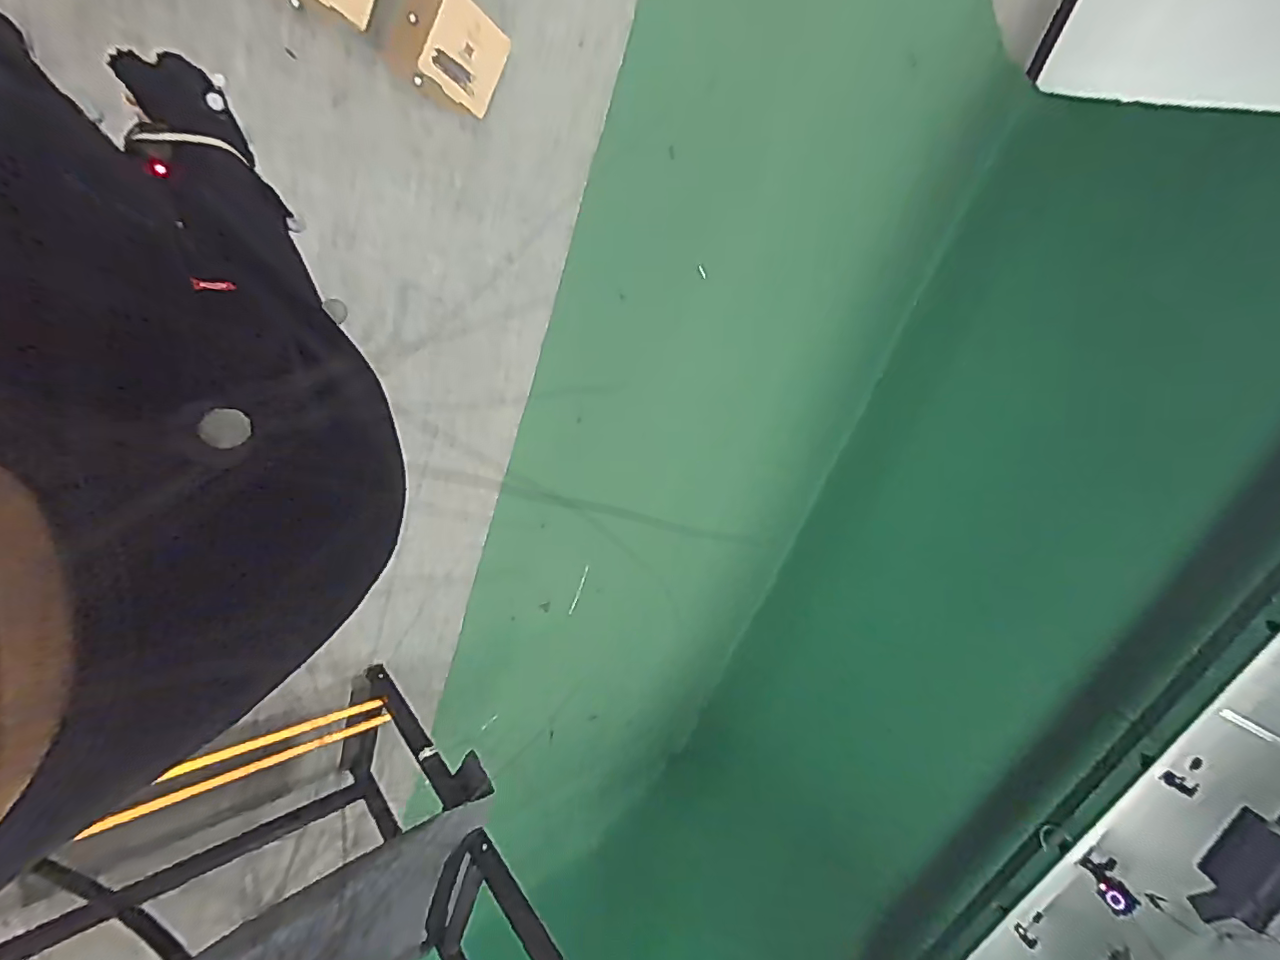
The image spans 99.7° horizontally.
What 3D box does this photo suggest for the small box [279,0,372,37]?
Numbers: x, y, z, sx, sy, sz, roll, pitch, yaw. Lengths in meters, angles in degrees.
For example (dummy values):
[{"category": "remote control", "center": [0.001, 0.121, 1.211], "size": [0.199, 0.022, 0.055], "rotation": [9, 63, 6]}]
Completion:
[{"category": "small box", "center": [-0.588, -0.947, 0.969], "size": [0.168, 0.176, 0.179], "rotation": [9, 112, -53]}]
